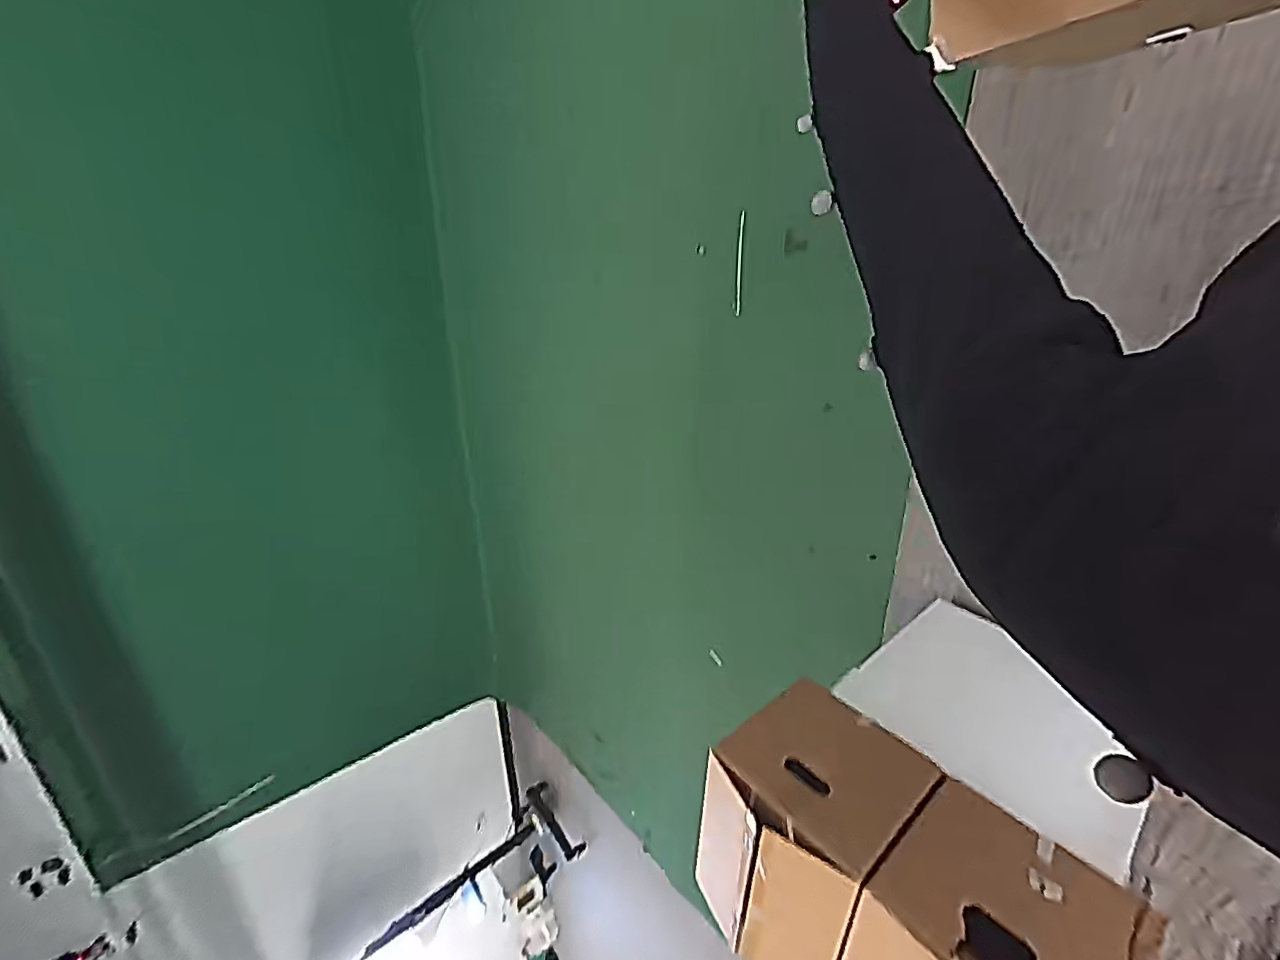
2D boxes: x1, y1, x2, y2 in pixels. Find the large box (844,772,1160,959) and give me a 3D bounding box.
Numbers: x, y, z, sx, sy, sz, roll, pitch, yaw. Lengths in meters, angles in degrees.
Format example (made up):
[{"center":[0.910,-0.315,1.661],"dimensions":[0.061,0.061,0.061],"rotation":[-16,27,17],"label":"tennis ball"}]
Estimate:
[{"center":[0.552,0.793,0.877],"dimensions":[0.320,0.320,0.408],"rotation":[26,124,45],"label":"large box"}]
